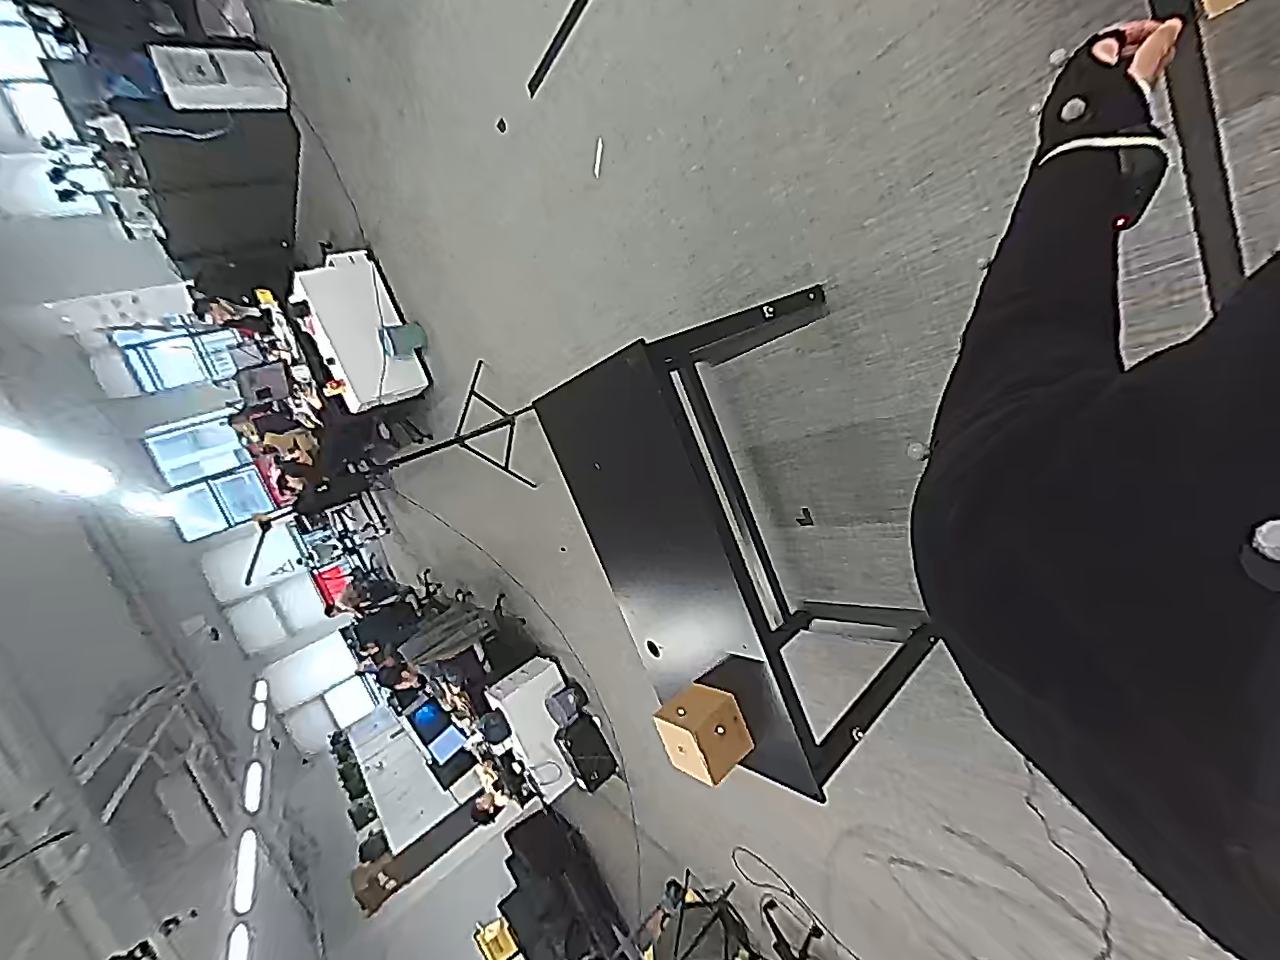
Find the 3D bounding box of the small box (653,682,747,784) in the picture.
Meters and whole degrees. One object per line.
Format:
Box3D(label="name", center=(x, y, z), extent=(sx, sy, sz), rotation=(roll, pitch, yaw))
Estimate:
Box3D(label="small box", center=(0.171, 0.682, 1.483), extent=(0.179, 0.176, 0.168), rotation=(-11, 102, 57))
